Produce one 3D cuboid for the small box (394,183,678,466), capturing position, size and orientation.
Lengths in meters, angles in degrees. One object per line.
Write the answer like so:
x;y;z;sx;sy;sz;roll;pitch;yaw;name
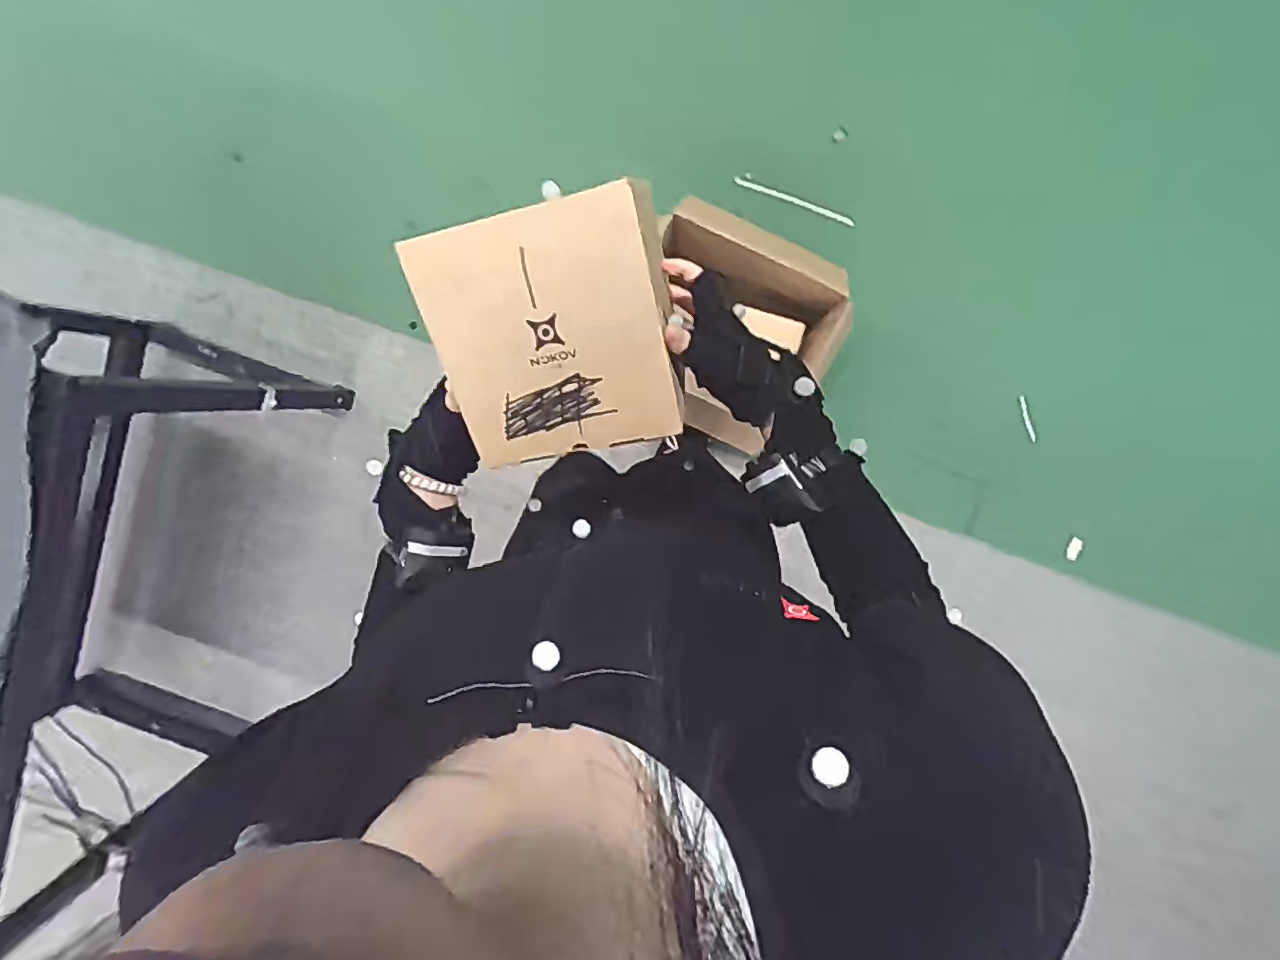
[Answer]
-0.062;-0.135;0.457;0.168;0.176;0.179;-10;115;10;small box
